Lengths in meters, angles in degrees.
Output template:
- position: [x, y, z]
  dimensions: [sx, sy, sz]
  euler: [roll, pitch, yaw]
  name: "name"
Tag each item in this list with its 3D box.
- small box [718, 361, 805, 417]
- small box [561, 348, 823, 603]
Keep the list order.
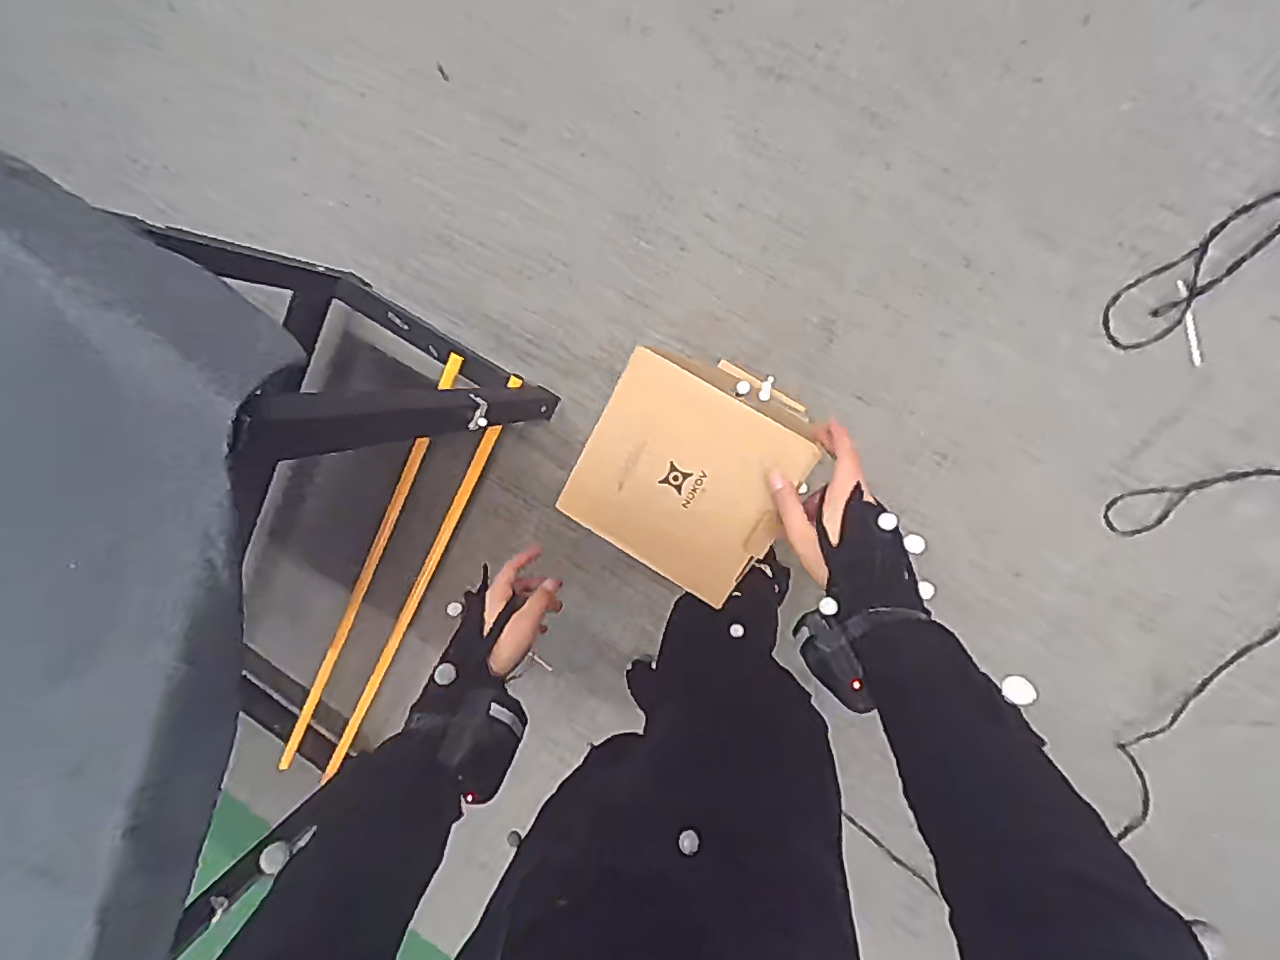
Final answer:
- position: [0.183, -0.101, 1.005]
  dimensions: [0.168, 0.176, 0.179]
  euler: [32, 105, 8]
  name: "small box"
- position: [0.057, -0.015, 0.539]
  dimensions: [0.179, 0.176, 0.168]
  euler: [31, 105, 8]
  name: "small box"
